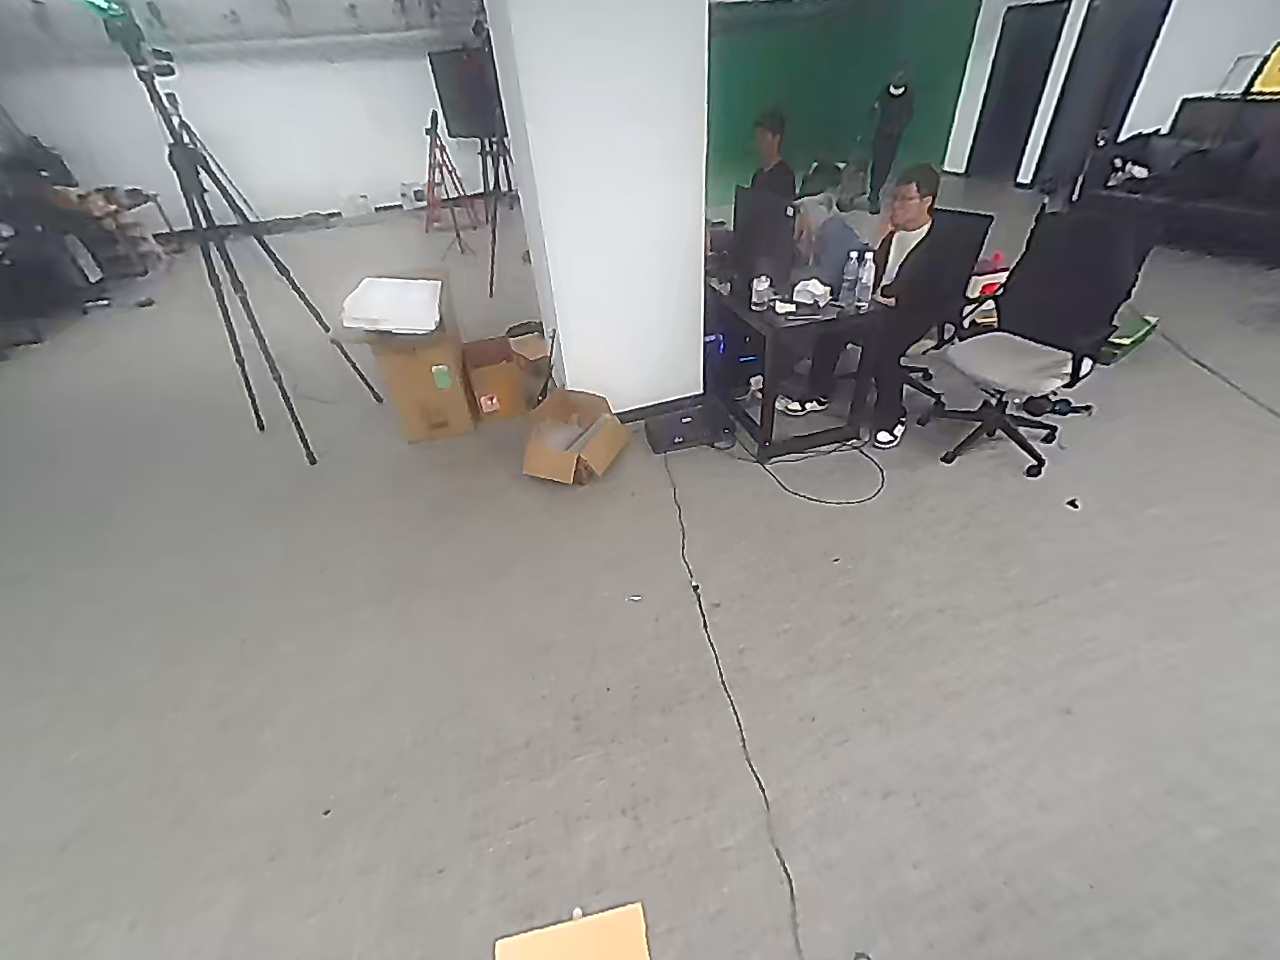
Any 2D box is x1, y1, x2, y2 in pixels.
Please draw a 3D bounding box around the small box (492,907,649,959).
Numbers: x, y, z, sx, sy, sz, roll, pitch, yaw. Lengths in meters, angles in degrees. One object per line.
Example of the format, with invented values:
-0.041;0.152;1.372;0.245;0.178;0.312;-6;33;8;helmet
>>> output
-0.069;0.632;0.623;0.179;0.176;0.168;-7;42;-10;small box
